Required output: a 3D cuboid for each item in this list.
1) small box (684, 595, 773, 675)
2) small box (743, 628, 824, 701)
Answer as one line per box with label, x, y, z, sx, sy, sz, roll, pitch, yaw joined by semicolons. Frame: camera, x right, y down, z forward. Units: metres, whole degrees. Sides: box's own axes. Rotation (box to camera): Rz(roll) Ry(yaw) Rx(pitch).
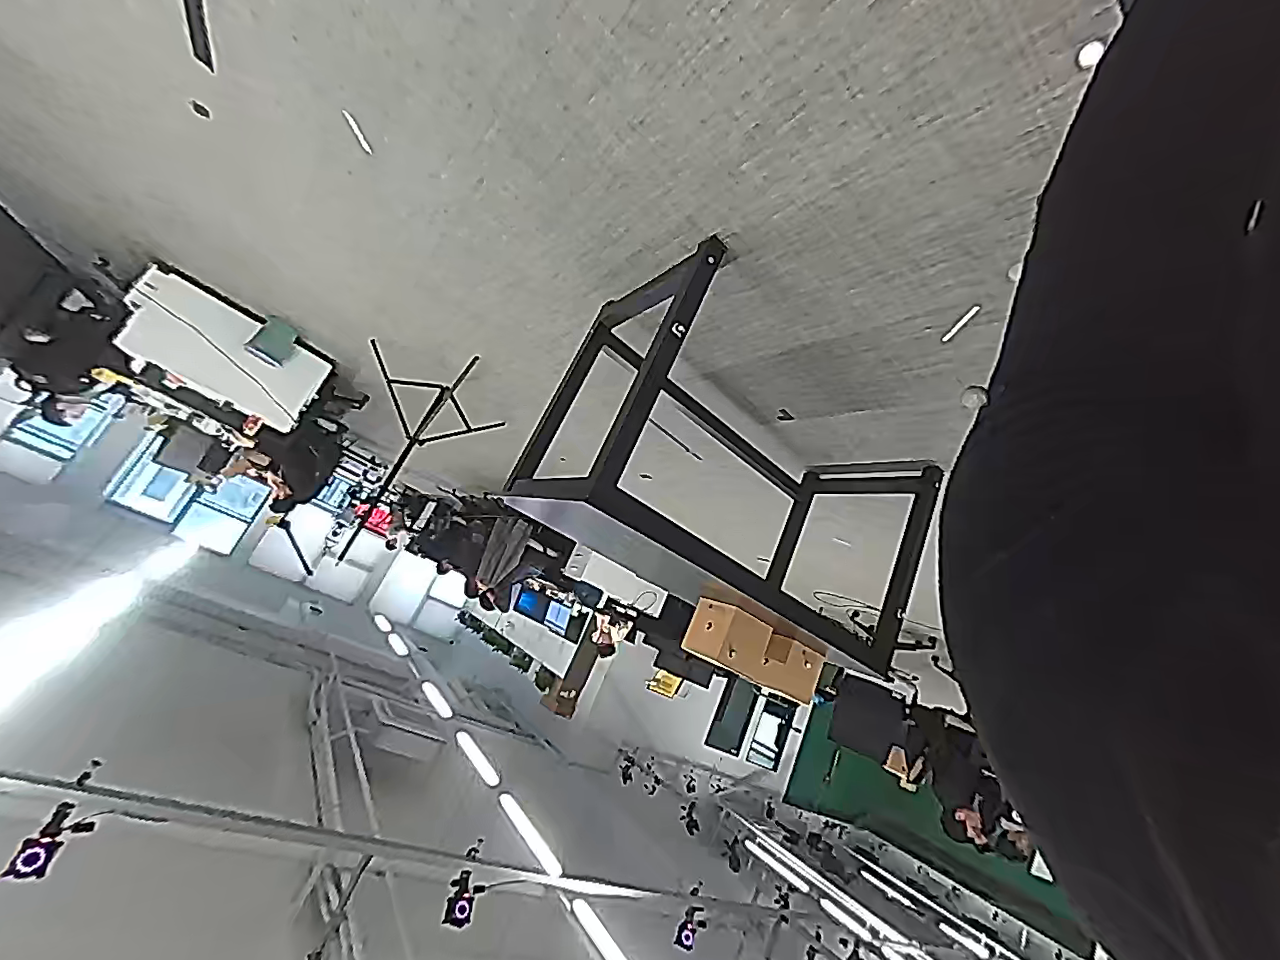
small box;0.273;0.467;1.651;0.179;0.176;0.168;33;163;-27
small box;0.472;0.596;1.775;0.168;0.176;0.179;32;162;-26
